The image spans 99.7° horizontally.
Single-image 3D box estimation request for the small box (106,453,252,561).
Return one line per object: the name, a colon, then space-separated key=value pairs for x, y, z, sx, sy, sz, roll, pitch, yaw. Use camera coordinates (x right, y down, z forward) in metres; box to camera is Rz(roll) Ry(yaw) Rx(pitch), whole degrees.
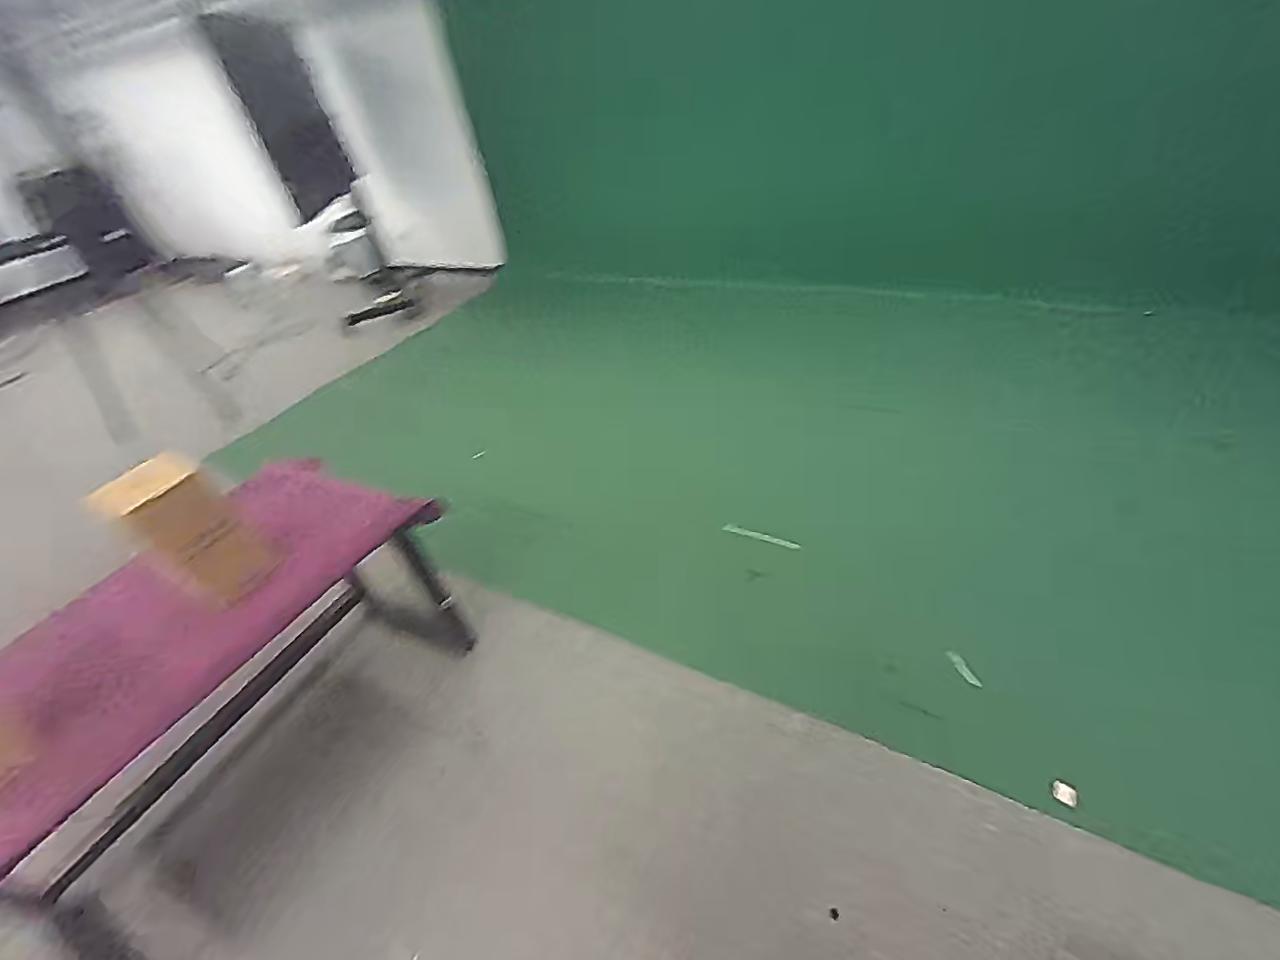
small box: x=-1.064 y=0.064 z=1.264 sx=0.179 sy=0.176 sz=0.168 roll=14 pitch=45 yaw=27
